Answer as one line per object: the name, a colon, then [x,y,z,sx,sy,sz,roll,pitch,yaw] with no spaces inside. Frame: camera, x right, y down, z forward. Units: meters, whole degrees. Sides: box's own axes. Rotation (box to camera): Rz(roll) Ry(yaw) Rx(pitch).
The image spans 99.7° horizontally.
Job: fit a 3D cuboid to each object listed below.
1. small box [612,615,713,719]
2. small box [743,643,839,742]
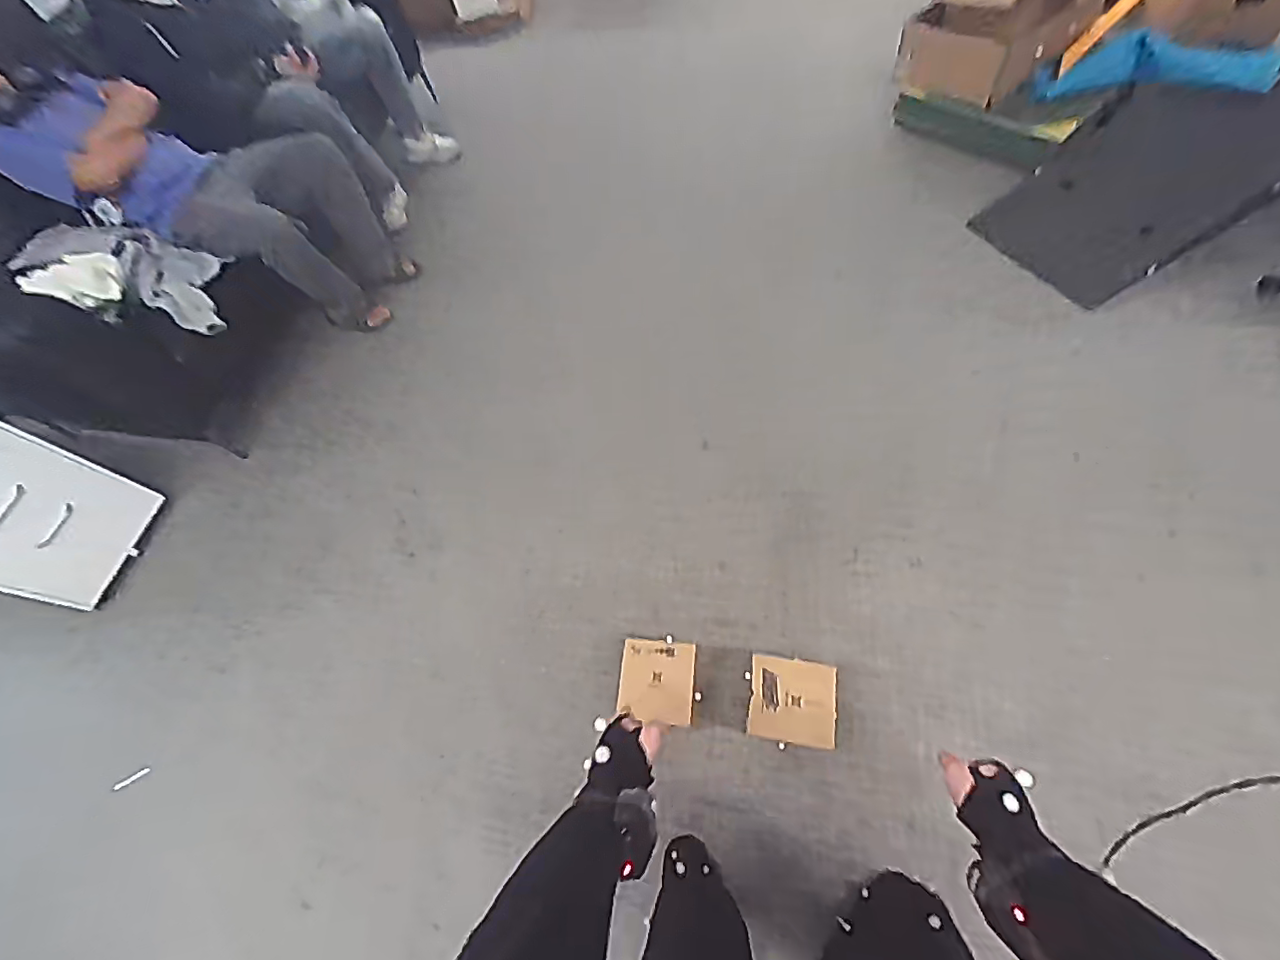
small box: [0.057,0.447,1.278,0.179,0.176,0.168,-25,59,0]
small box: [0.335,0.477,1.208,0.179,0.176,0.168,9,68,17]
